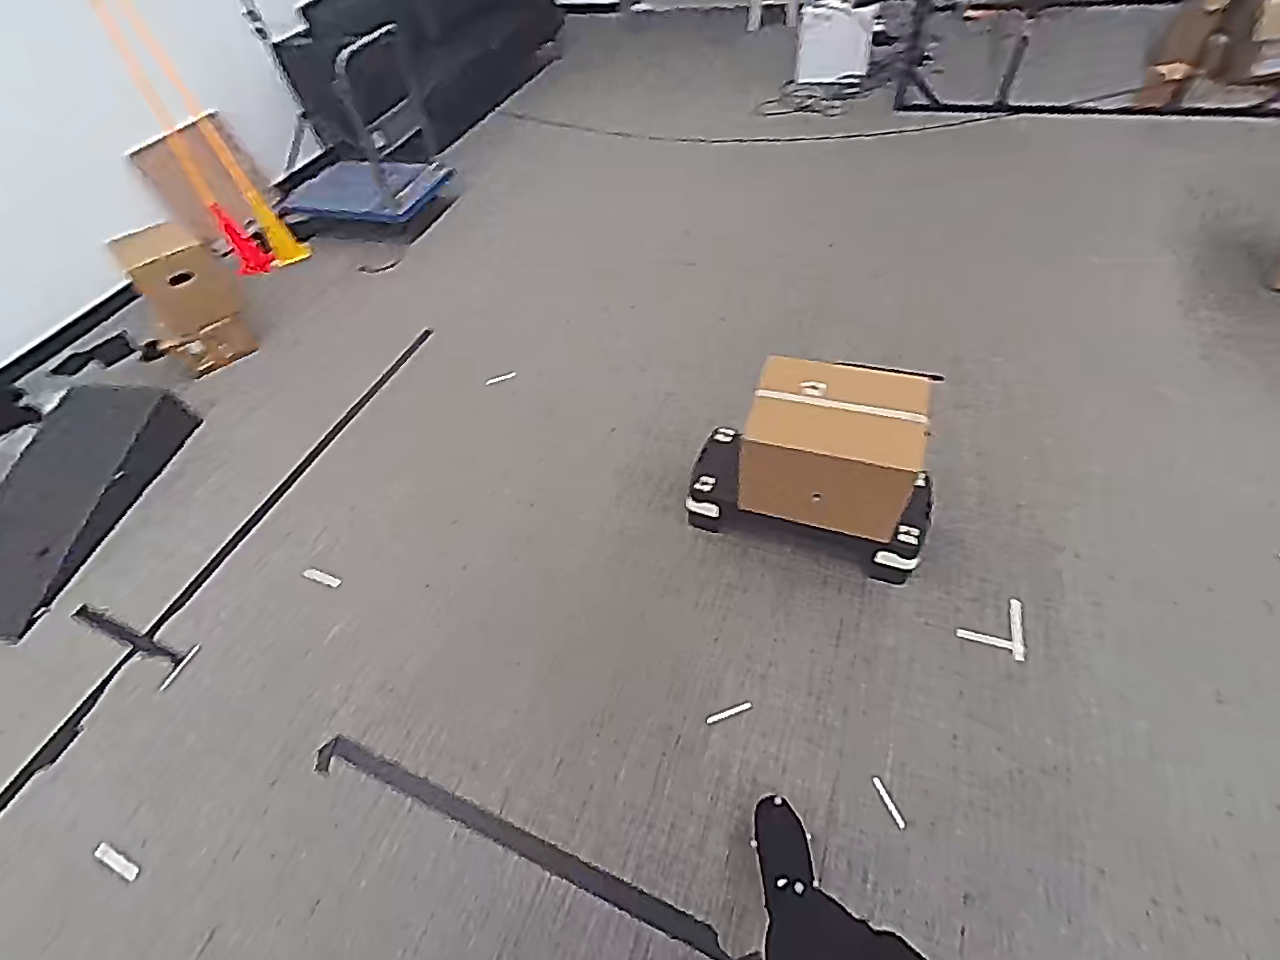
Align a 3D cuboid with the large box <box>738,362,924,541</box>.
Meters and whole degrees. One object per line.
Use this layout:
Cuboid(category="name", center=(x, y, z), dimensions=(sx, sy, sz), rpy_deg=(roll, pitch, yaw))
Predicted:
Cuboid(category="large box", center=(0.493, -0.075, 1.434), dimensions=(0.408, 0.320, 0.320), rpy_deg=(12, 55, 18))
